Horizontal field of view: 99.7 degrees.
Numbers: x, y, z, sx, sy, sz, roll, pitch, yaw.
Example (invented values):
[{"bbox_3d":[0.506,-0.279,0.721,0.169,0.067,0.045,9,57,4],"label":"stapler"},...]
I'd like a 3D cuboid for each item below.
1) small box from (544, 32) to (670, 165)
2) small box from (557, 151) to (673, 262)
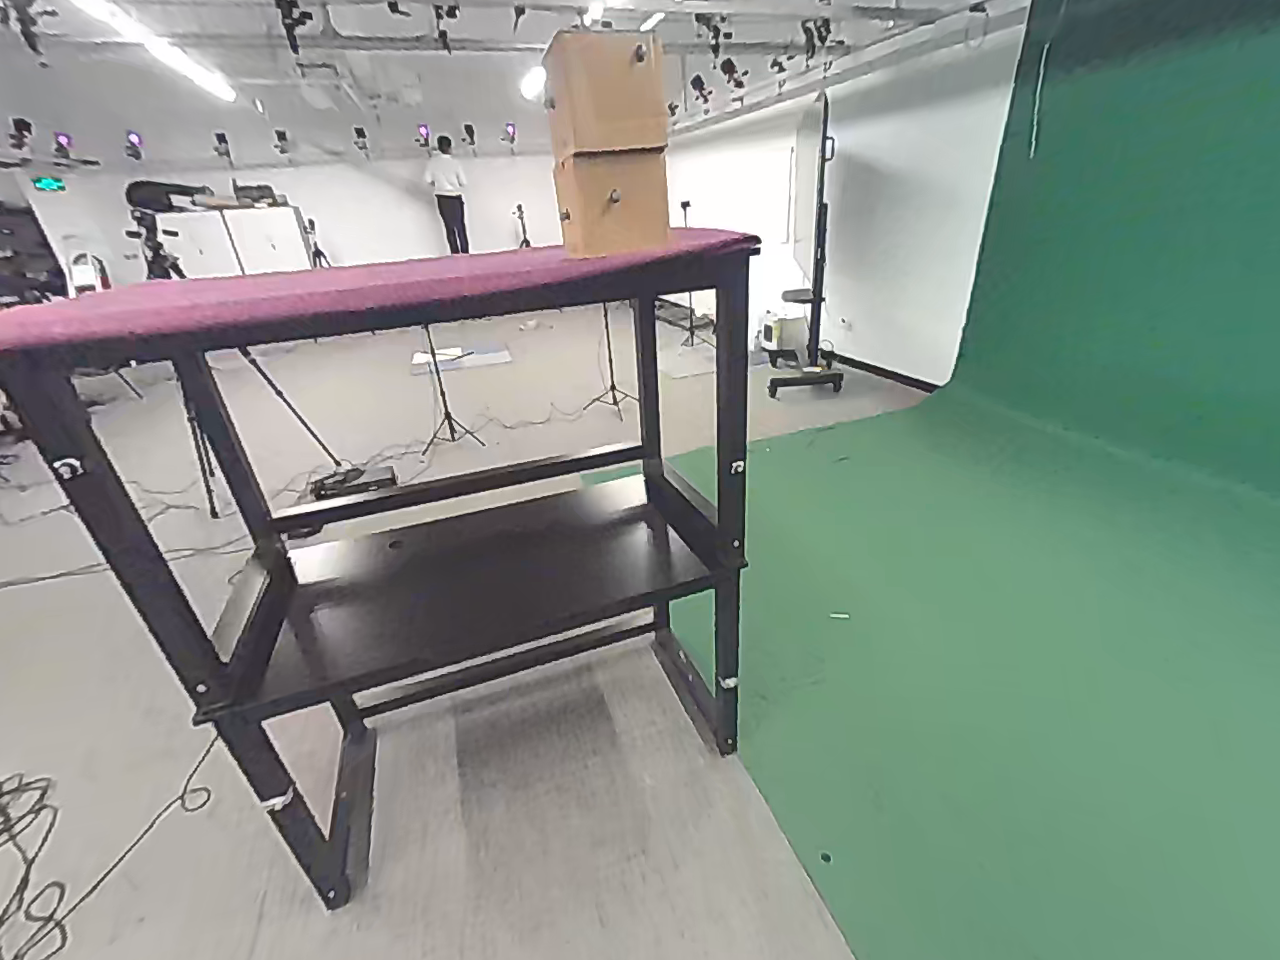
[{"bbox_3d":[-0.059,-0.660,0.960,0.179,0.176,0.168,-13,26,-15],"label":"small box"},{"bbox_3d":[-0.048,-0.518,1.040,0.179,0.176,0.168,-14,26,-15],"label":"small box"}]
